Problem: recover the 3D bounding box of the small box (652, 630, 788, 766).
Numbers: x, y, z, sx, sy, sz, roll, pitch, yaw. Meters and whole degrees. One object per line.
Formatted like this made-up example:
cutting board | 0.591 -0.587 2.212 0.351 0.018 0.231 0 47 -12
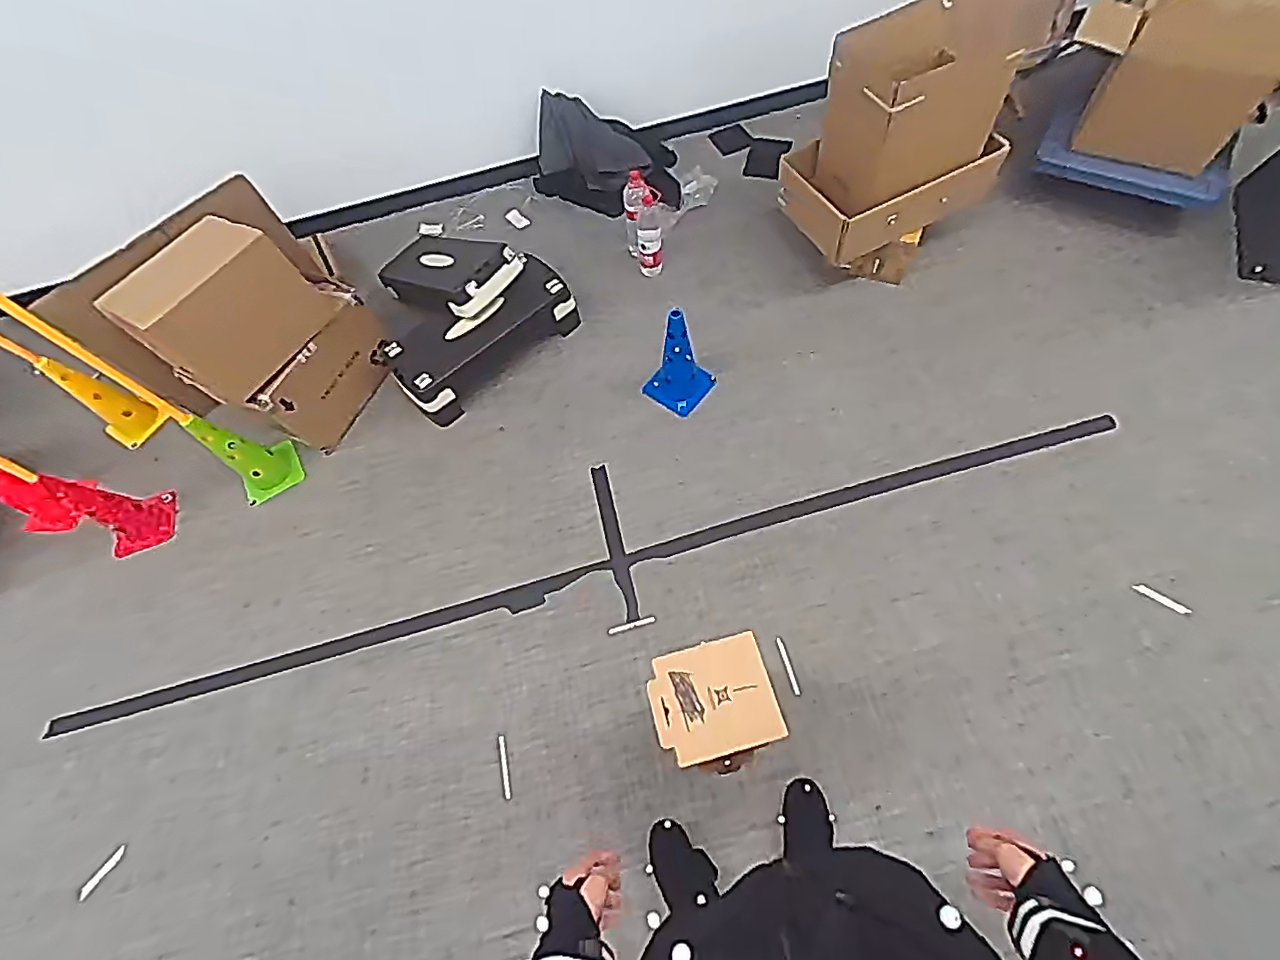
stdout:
small box | 0.130 0.372 0.914 0.179 0.176 0.168 -16 63 -3
